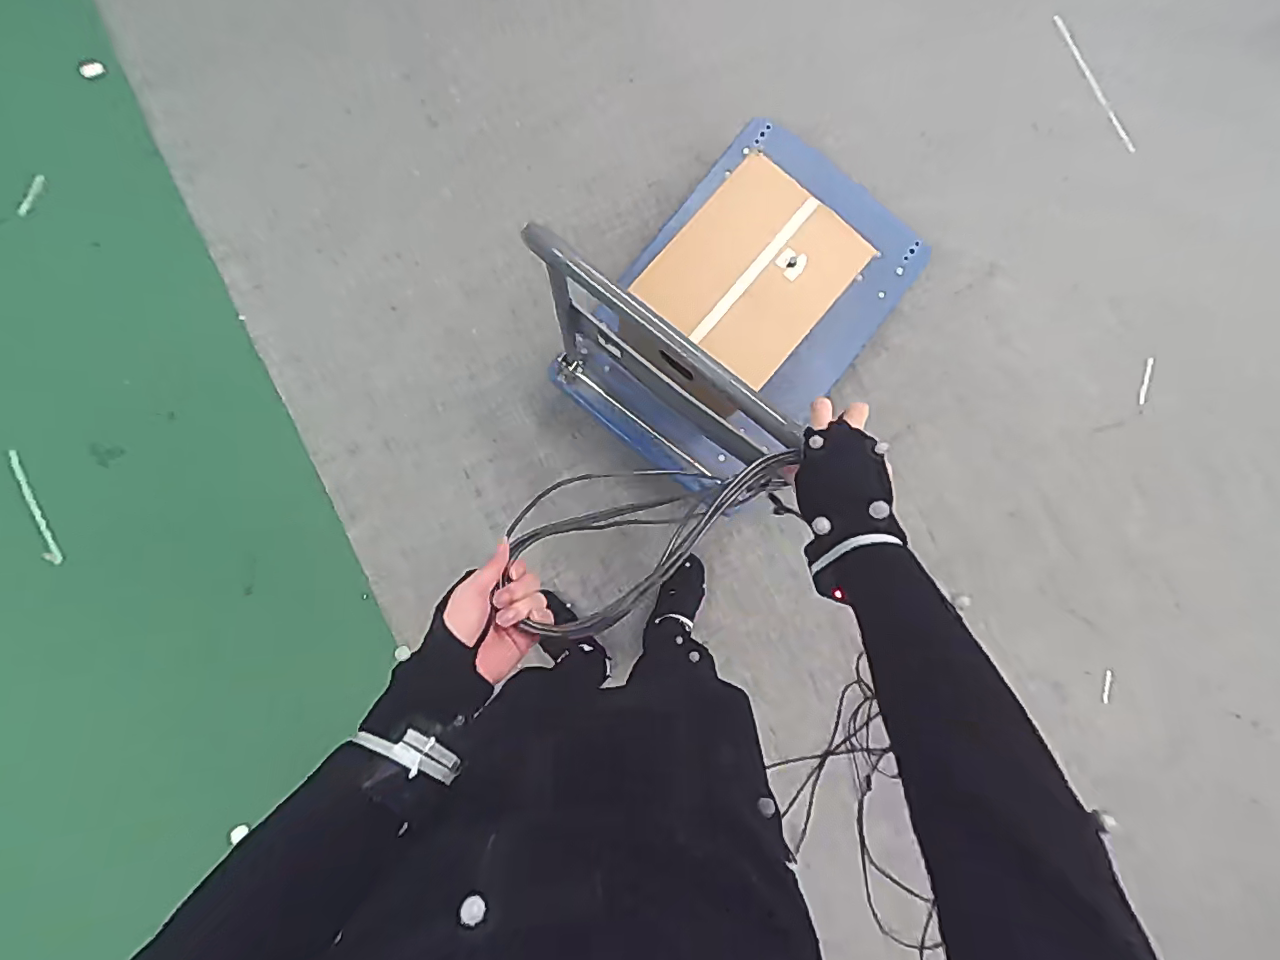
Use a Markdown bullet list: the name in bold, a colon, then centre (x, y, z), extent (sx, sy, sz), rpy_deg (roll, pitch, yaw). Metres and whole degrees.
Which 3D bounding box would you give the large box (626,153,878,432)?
- **large box**: centre (0.209, -0.370, 1.164), extent (0.320, 0.320, 0.408), rpy_deg (41, 84, 0)
